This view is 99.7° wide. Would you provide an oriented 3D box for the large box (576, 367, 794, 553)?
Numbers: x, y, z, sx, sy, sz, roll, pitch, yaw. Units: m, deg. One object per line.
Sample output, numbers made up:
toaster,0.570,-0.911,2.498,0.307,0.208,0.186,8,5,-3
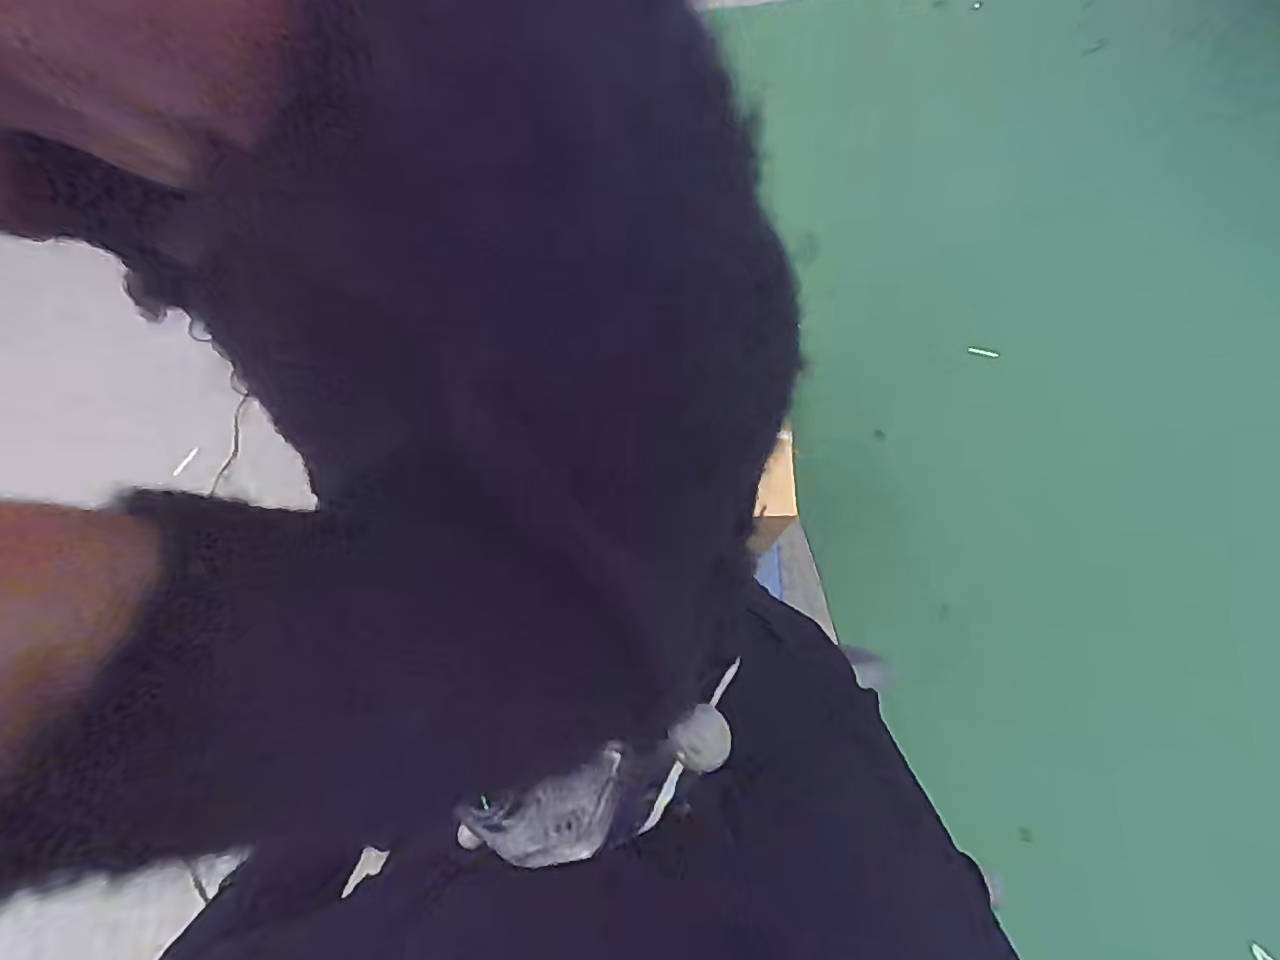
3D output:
large box,0.085,-0.024,1.173,0.408,0.320,0.320,-2,70,2
